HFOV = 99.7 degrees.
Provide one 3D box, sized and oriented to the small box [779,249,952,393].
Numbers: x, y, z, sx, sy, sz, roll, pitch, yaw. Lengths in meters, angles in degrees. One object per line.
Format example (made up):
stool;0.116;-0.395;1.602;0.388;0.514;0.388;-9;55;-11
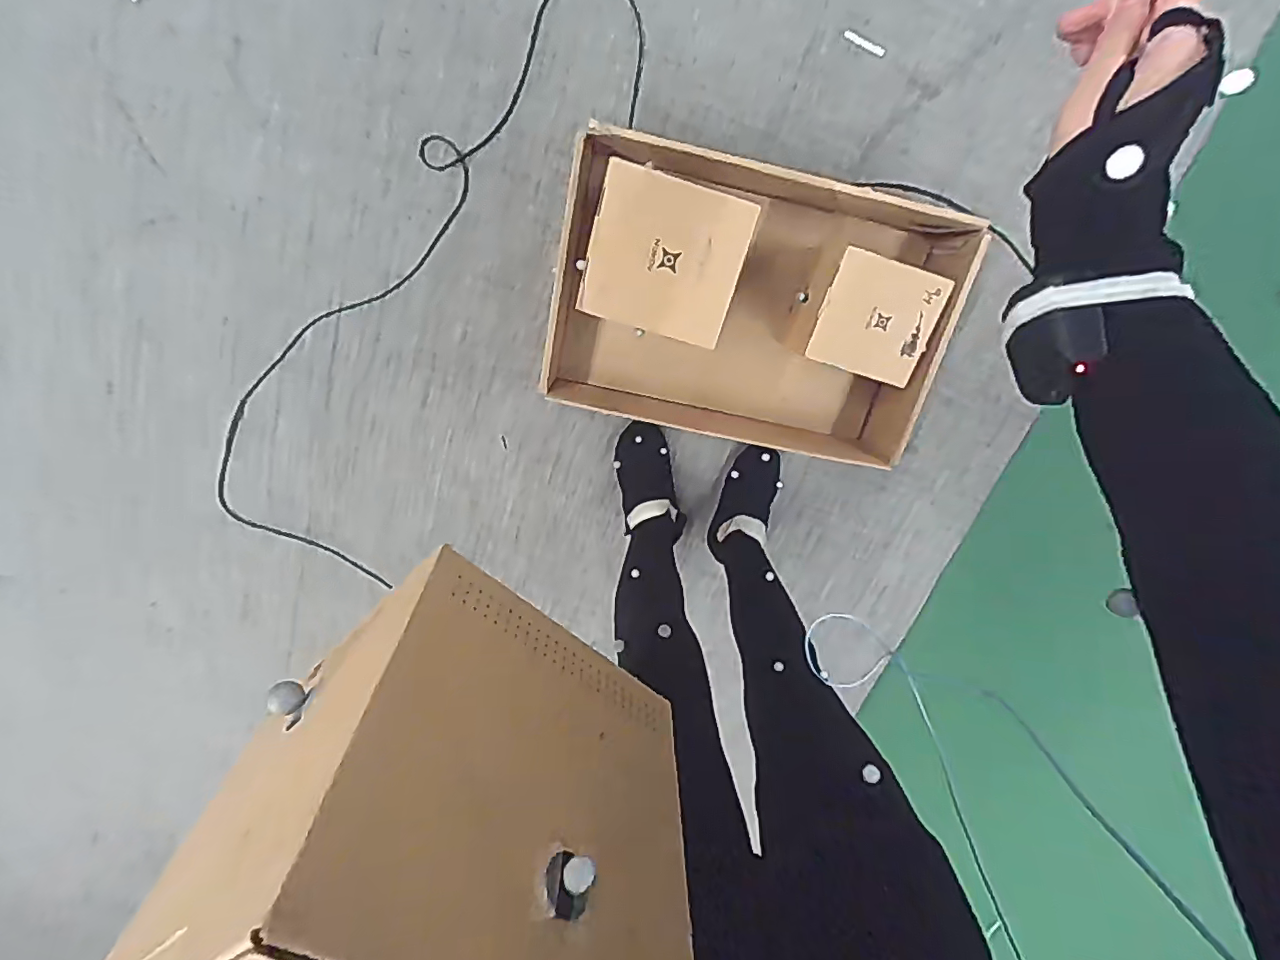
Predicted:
small box;0.349;-0.259;0.879;0.179;0.176;0.168;17;110;-7

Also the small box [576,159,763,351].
small box;0.029;-0.280;0.691;0.179;0.176;0.168;15;111;-8
